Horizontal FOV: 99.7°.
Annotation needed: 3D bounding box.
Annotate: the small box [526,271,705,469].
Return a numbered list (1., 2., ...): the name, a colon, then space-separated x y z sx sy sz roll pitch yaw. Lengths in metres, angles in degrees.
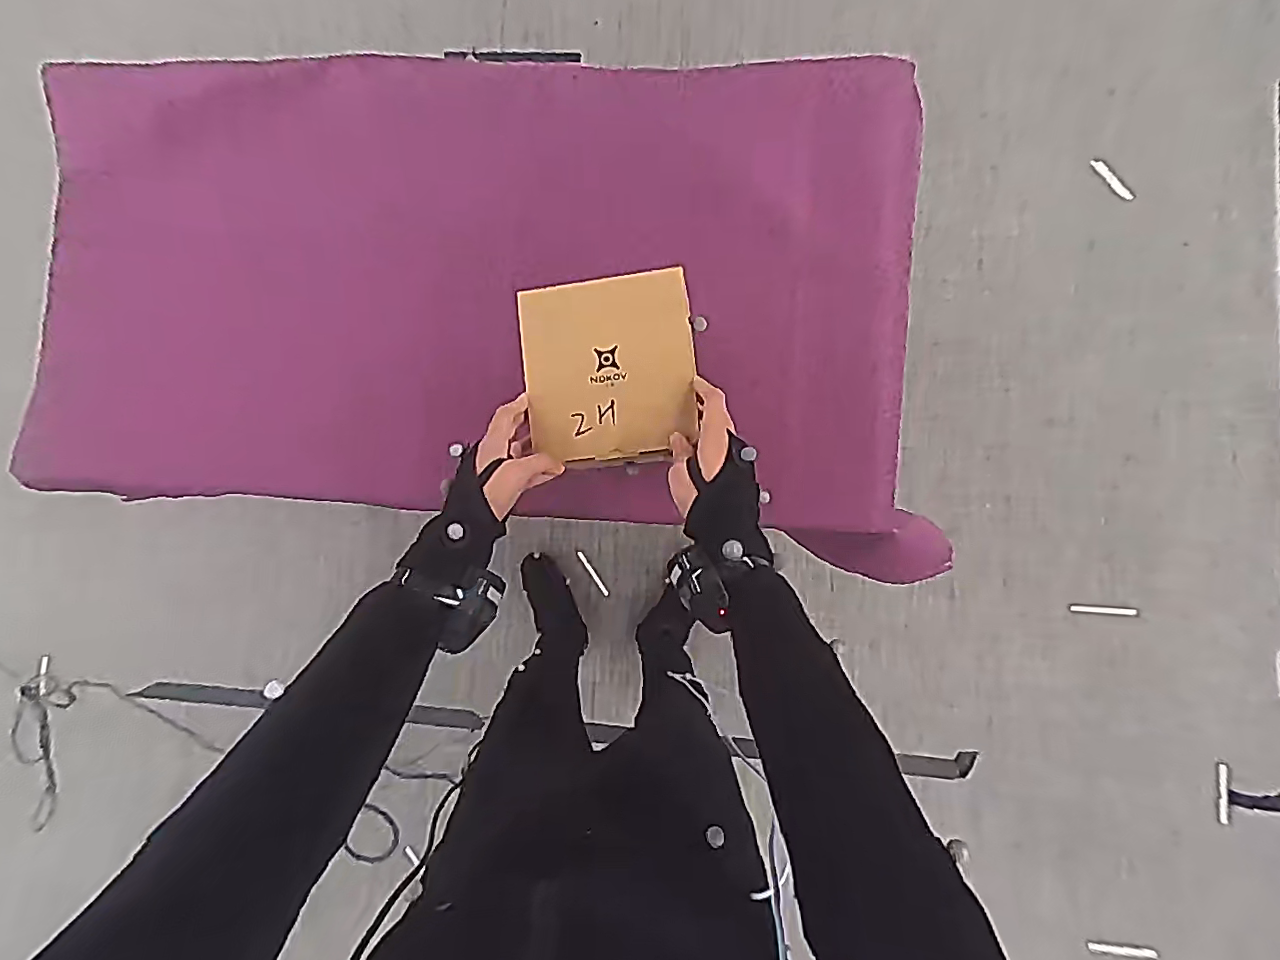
1. small box: -0.017 -0.108 0.605 0.168 0.176 0.179 -5 90 8
